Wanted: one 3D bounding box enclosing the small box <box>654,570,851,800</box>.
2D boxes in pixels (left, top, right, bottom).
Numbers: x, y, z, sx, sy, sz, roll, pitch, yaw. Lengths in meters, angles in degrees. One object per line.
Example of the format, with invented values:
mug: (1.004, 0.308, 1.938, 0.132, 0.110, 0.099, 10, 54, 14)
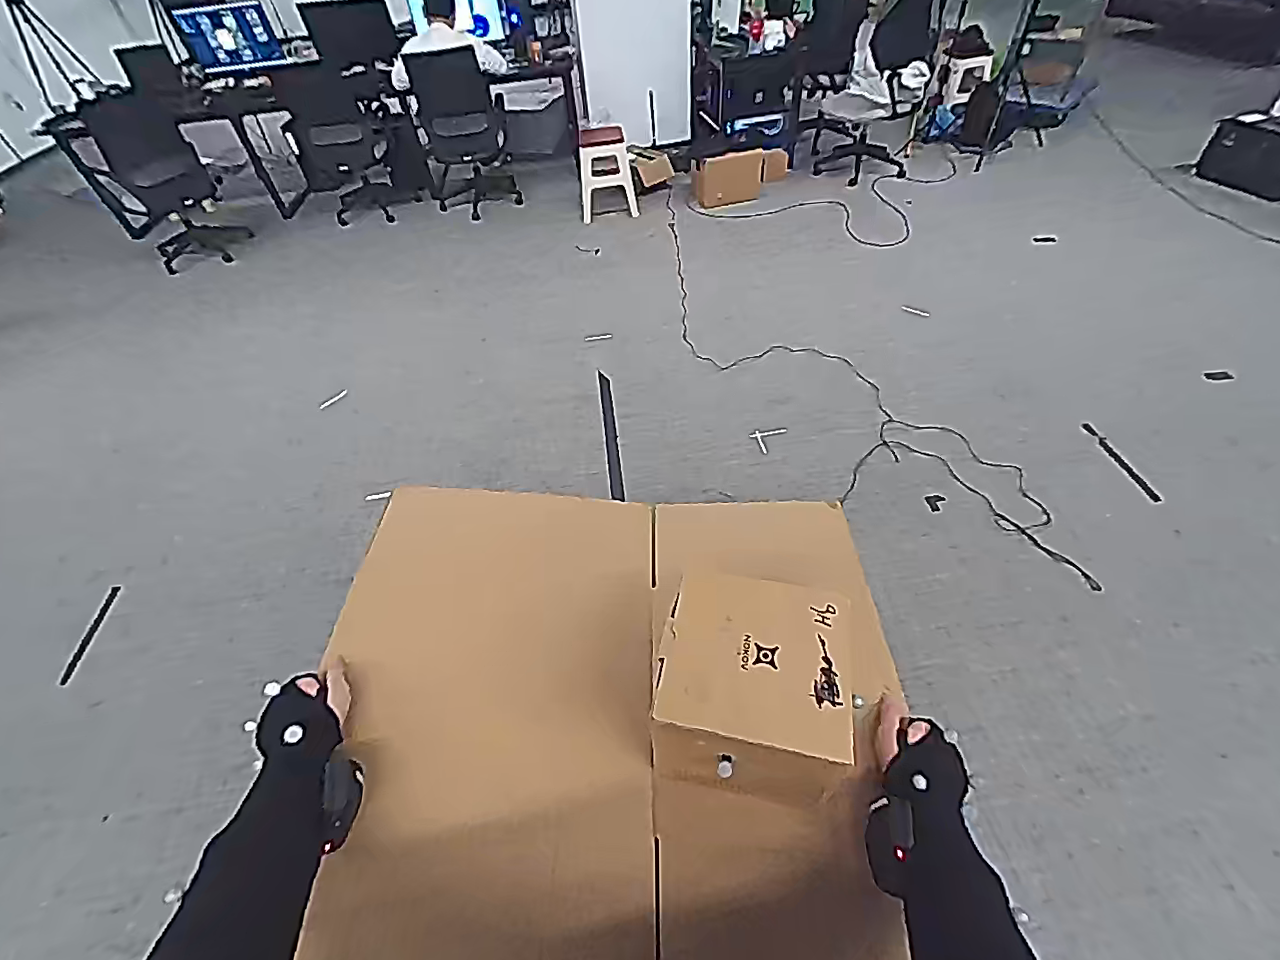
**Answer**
small box: (0.121, 0.222, 0.585, 0.179, 0.176, 0.168, 7, 48, 13)
